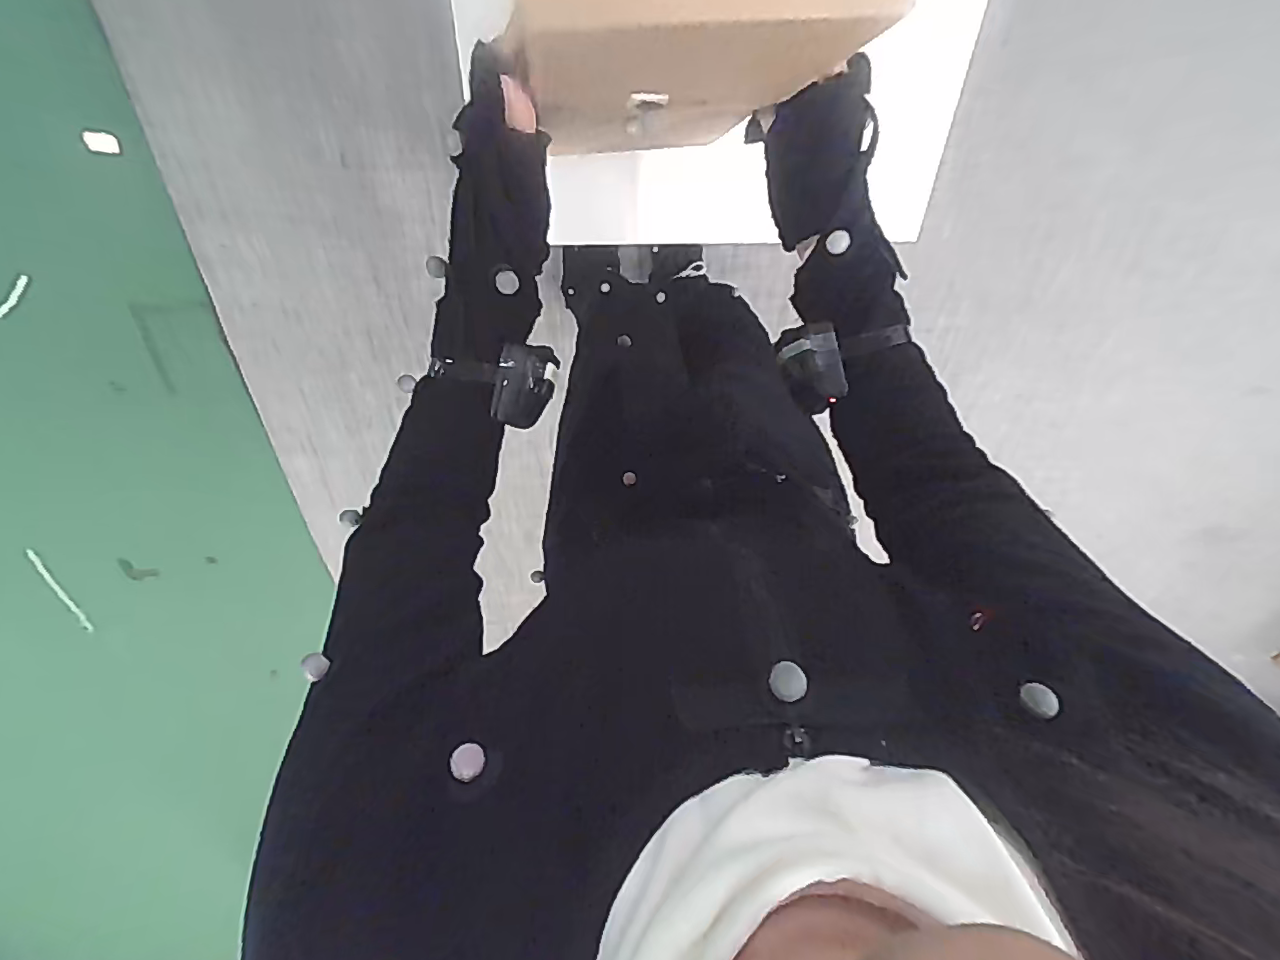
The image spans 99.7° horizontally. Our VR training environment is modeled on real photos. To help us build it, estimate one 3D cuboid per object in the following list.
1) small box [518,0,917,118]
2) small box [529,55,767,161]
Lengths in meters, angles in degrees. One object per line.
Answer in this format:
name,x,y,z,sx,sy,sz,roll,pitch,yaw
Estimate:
small box,0.018,-0.295,0.253,0.168,0.176,0.179,-7,113,-5
small box,-0.006,-0.366,0.417,0.168,0.176,0.179,-7,112,-5
